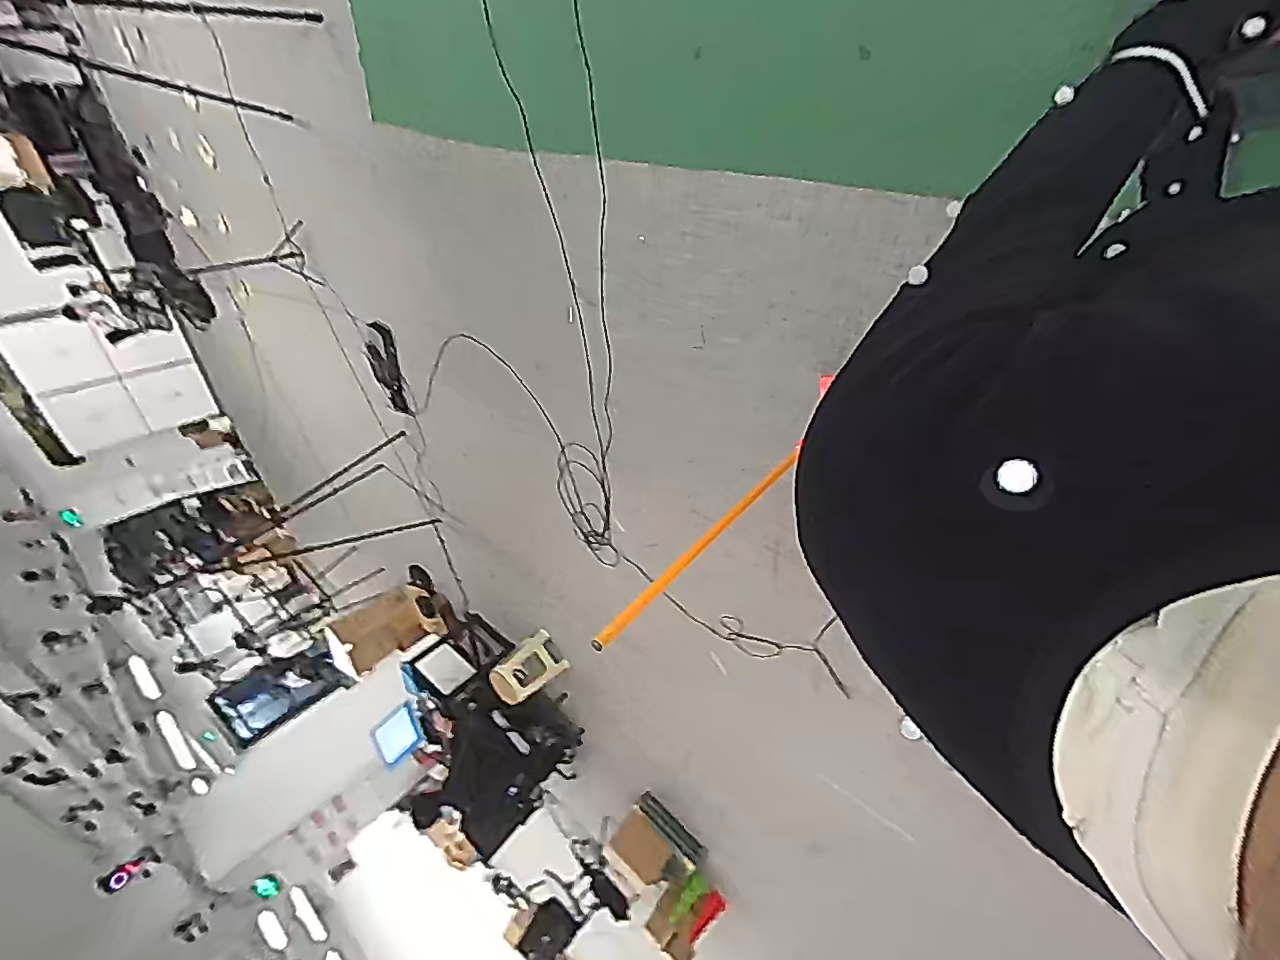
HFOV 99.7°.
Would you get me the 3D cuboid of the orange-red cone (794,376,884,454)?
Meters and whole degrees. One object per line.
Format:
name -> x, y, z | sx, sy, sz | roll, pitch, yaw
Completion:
orange-red cone -> 0.558, -0.160, 1.615 | 0.199, 0.360, 0.198 | 15, 125, 41
